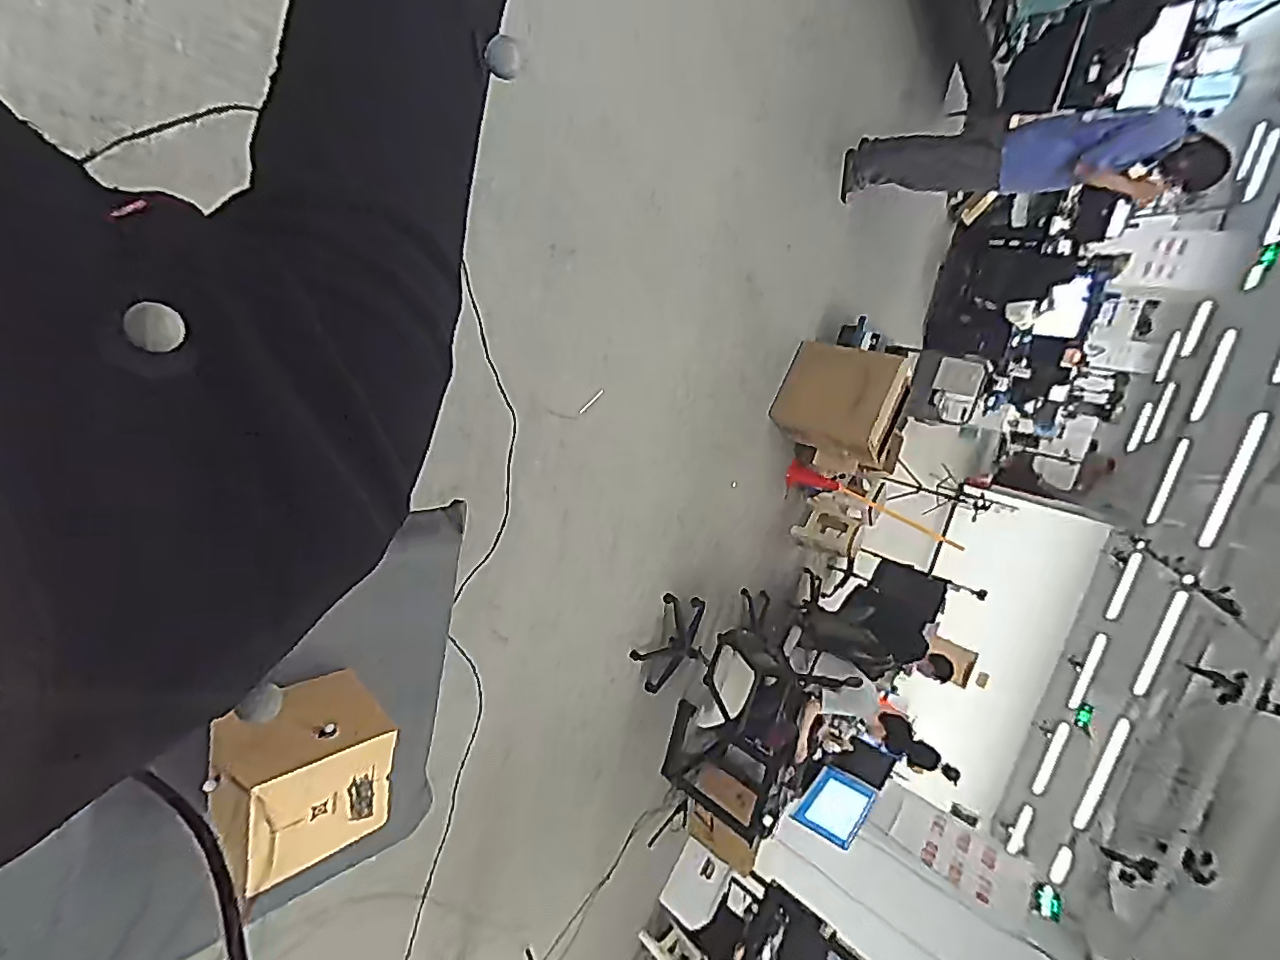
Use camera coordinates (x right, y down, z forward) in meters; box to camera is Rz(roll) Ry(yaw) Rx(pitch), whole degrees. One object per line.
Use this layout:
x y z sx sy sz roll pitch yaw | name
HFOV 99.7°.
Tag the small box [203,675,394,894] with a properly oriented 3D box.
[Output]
-0.475 0.402 0.754 0.179 0.176 0.168 -4 110 -51 | small box
